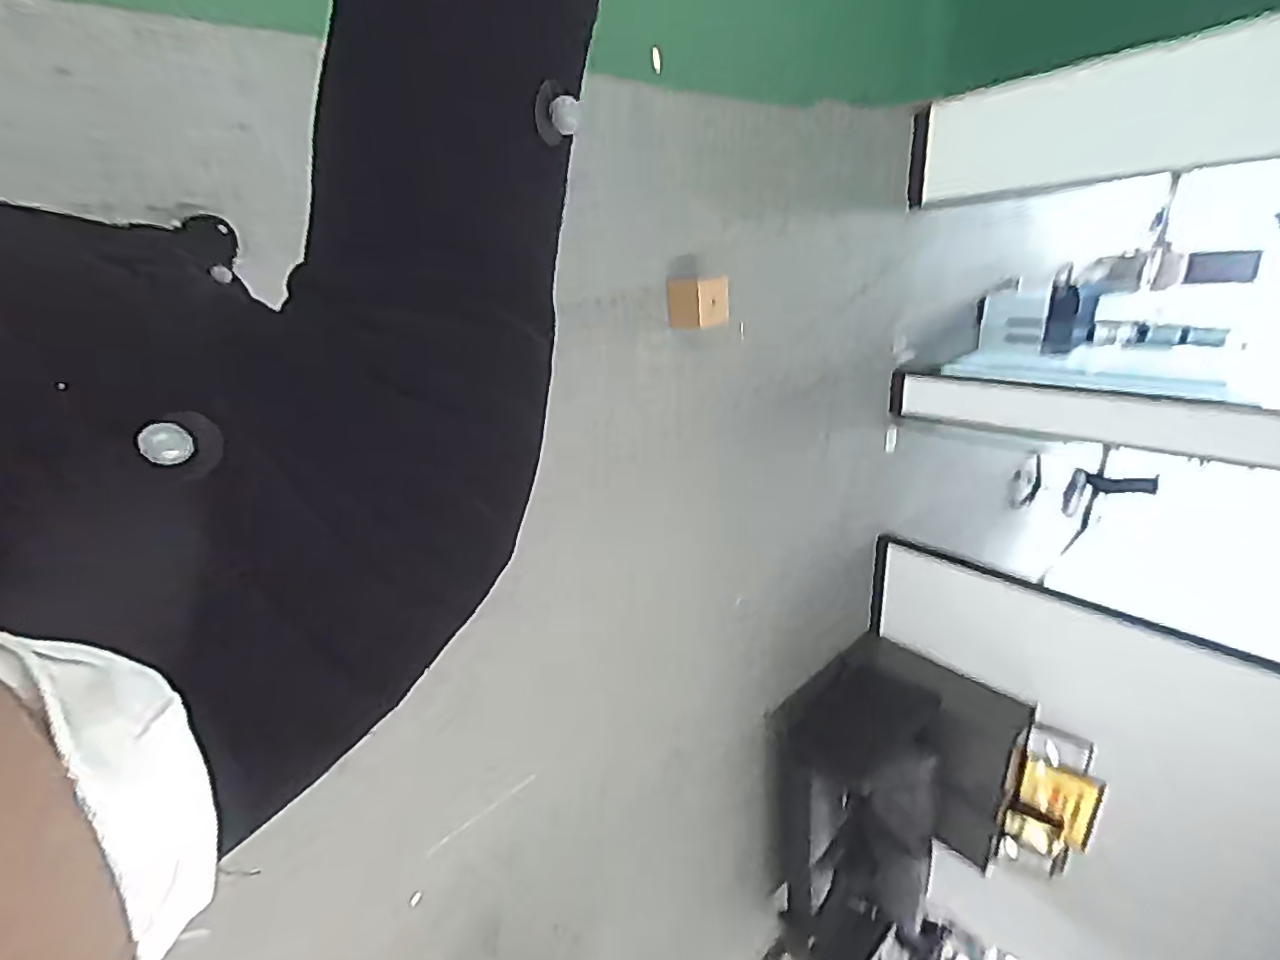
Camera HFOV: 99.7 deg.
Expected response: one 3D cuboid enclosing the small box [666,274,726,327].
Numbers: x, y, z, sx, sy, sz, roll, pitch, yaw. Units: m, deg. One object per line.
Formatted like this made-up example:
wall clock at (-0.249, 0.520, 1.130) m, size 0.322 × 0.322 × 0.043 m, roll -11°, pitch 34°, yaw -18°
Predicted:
small box at (0.215, -0.697, 2.100) m, size 0.168 × 0.176 × 0.179 m, roll -23°, pitch 118°, yaw -34°
